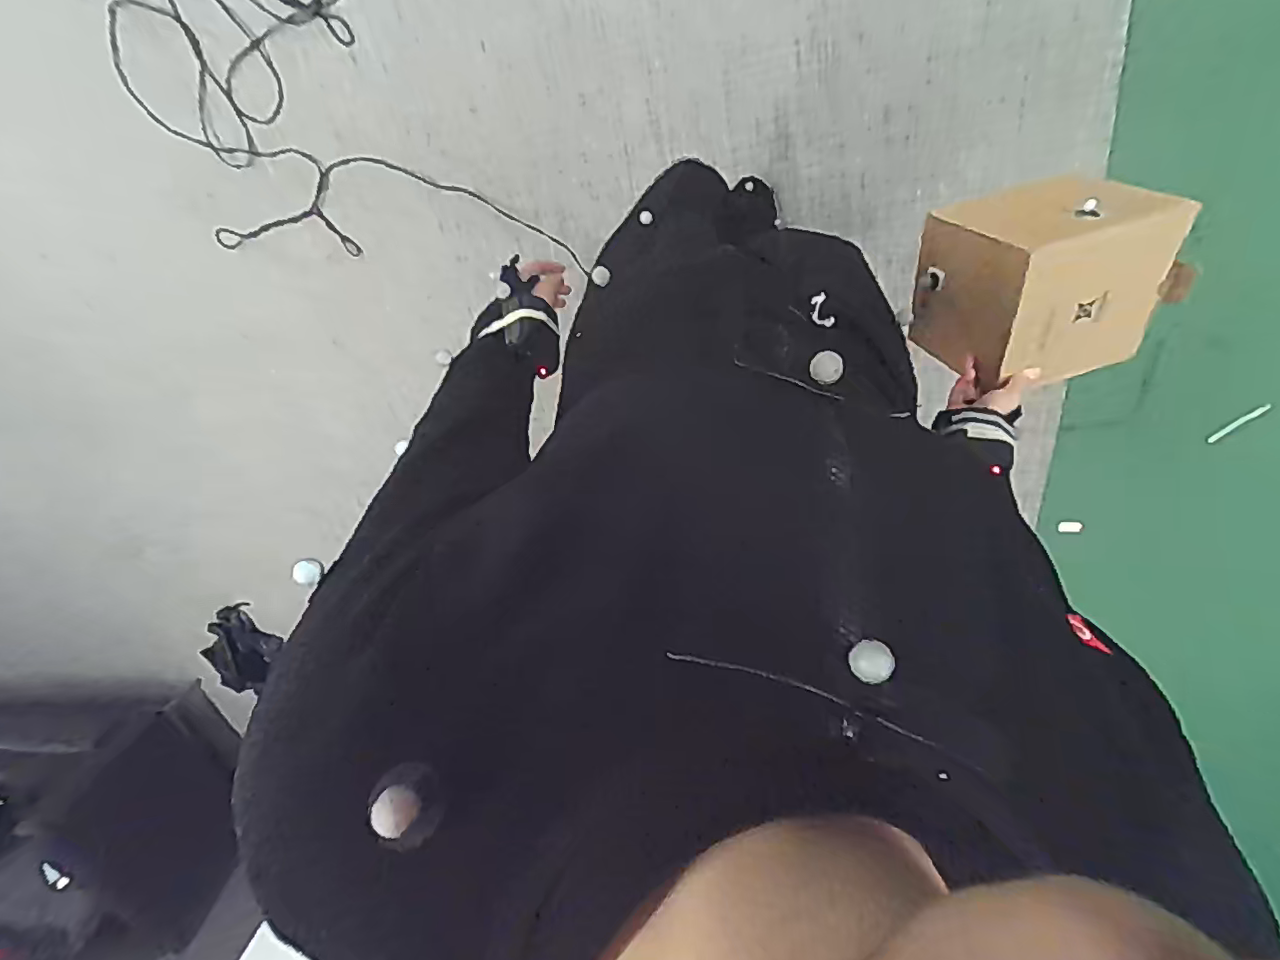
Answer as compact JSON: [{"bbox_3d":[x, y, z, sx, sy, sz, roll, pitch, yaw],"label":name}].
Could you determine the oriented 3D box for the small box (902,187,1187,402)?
[{"bbox_3d":[0.439,-0.220,0.623,0.179,0.176,0.168,-17,128,-3],"label":"small box"}]
